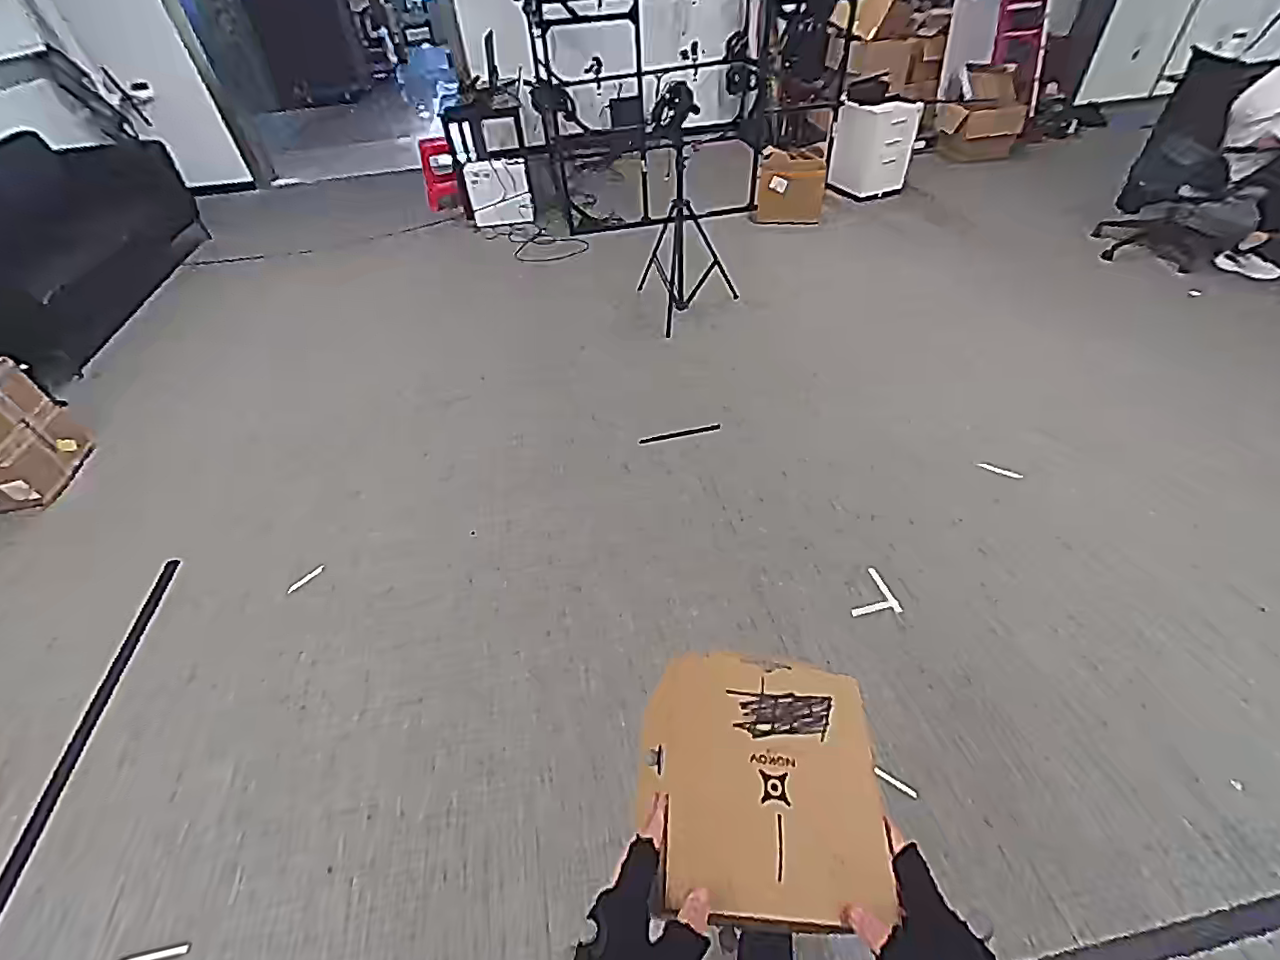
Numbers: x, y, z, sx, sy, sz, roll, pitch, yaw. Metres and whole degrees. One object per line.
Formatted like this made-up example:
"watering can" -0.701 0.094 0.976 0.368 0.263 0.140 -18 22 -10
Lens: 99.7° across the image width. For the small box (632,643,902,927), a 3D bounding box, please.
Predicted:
"small box" 0.090 0.268 0.471 0.168 0.176 0.179 9 50 -4
